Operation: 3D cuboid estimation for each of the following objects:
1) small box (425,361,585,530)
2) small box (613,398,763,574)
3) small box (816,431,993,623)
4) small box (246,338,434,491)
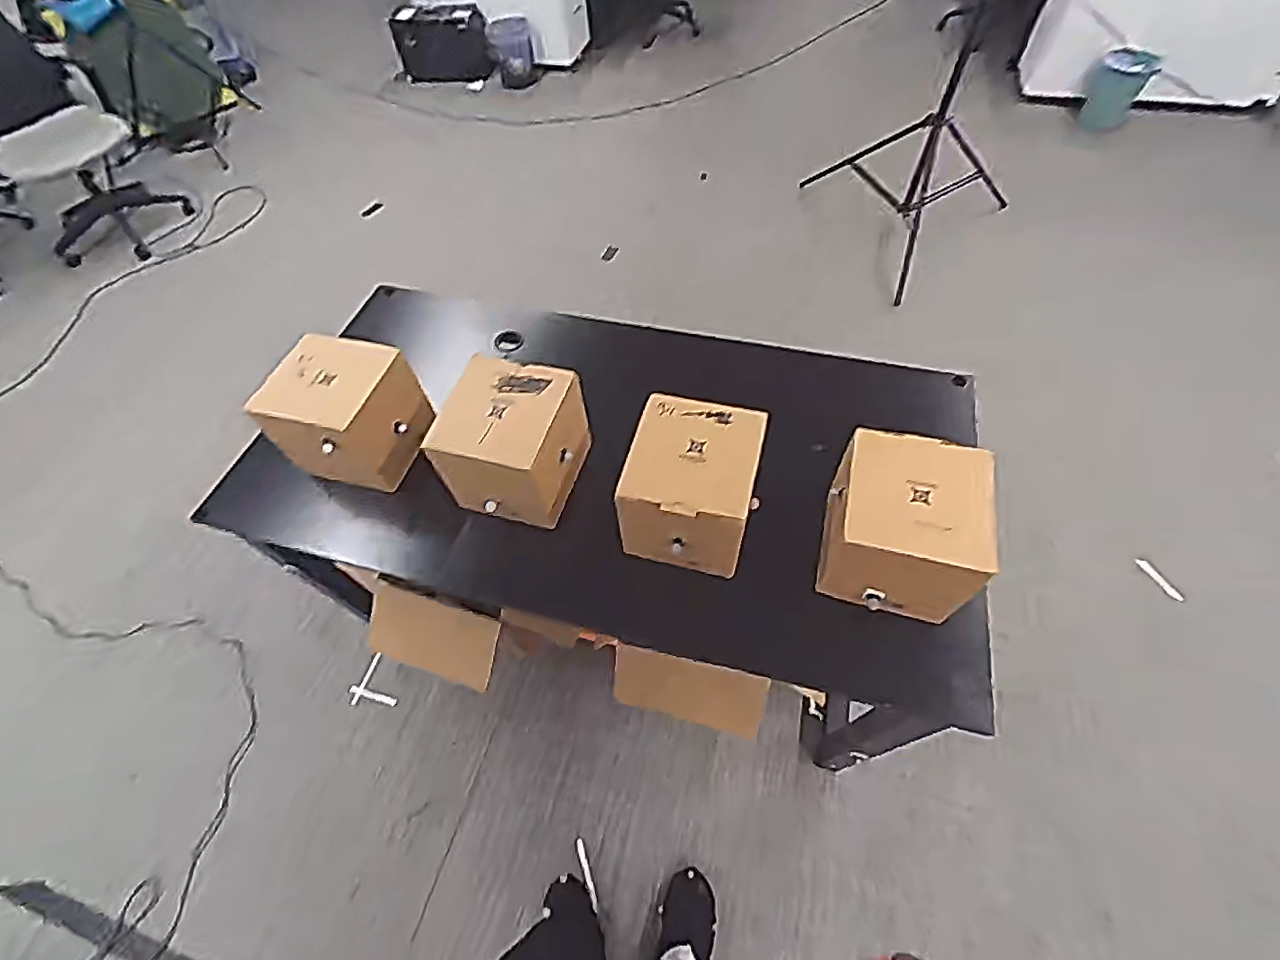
[{"bbox_3d":[-0.190,-0.050,0.829,0.168,0.176,0.179,12,59,12],"label":"small box"},{"bbox_3d":[0.072,0.014,0.771,0.168,0.176,0.179,12,59,12],"label":"small box"},{"bbox_3d":[0.340,0.065,0.721,0.168,0.176,0.179,11,58,13],"label":"small box"},{"bbox_3d":[-0.466,-0.101,0.877,0.179,0.176,0.168,11,58,10],"label":"small box"}]
